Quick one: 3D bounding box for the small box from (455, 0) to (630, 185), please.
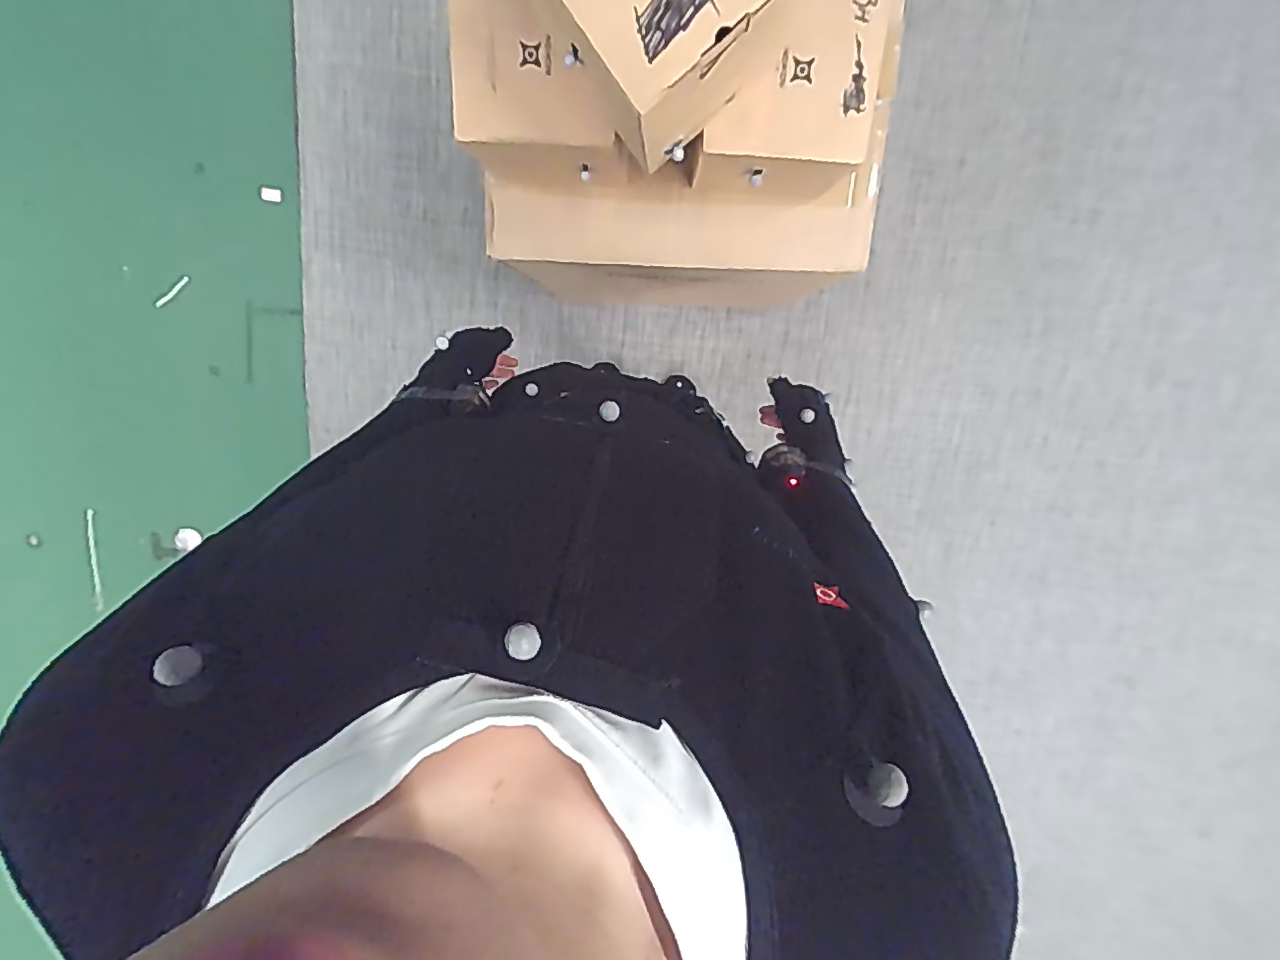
[{"bbox_3d":[-0.100,-0.460,0.635,0.179,0.176,0.168,2,104,3],"label":"small box"}]

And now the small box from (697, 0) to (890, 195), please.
[{"bbox_3d":[0.161,-0.444,0.629,0.179,0.176,0.168,5,106,2],"label":"small box"}]

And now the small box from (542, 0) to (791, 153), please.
[{"bbox_3d":[0.020,-0.422,0.470,0.168,0.176,0.179,-36,100,11],"label":"small box"}]
